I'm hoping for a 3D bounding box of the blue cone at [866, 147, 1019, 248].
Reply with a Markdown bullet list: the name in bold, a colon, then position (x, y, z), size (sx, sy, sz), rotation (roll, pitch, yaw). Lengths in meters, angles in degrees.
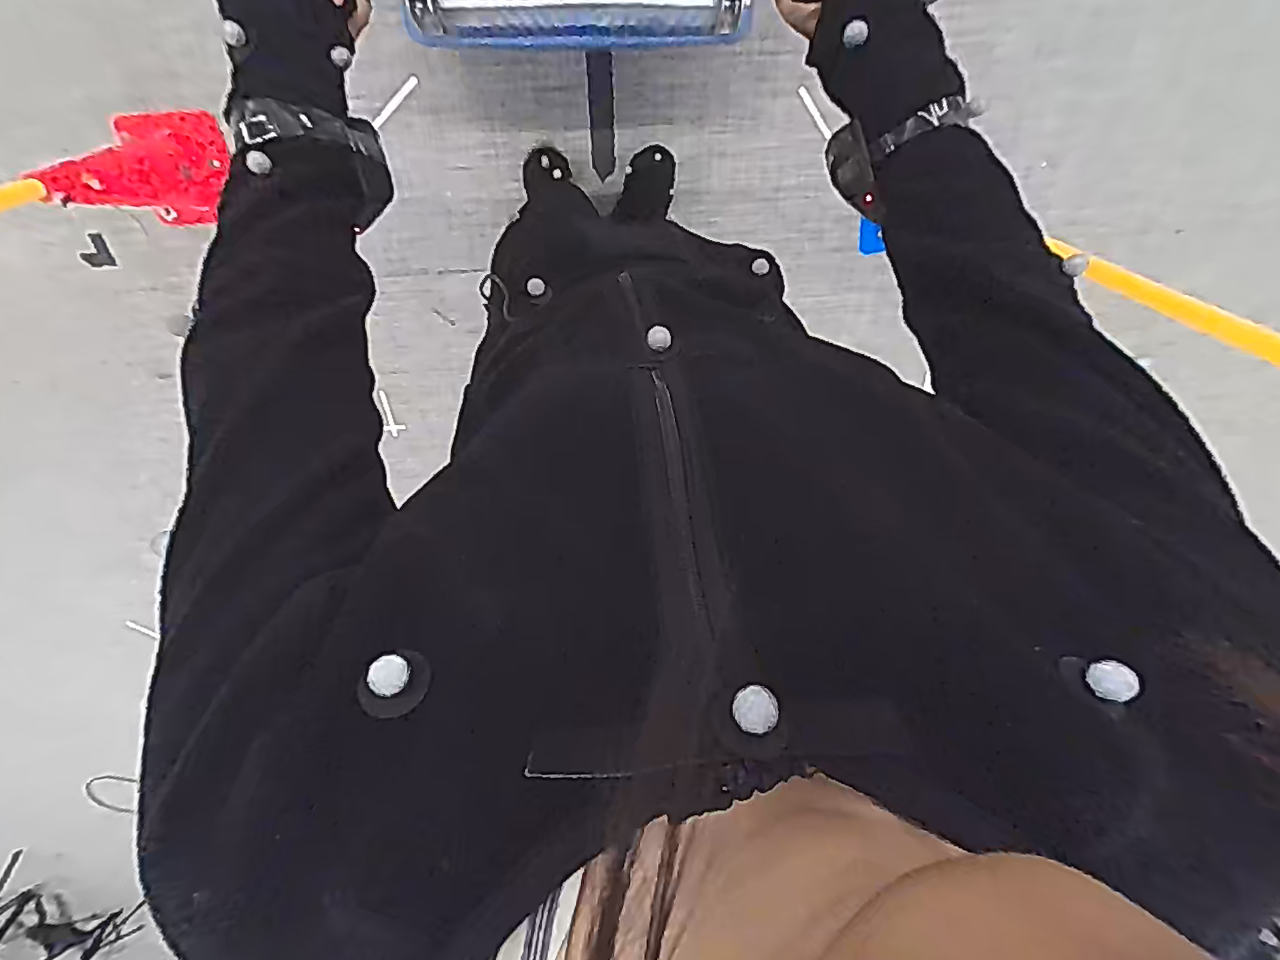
- **blue cone**: position (0.618, -0.546, 1.081), size (0.193, 0.380, 0.192), rotation (-7, 122, 0)
